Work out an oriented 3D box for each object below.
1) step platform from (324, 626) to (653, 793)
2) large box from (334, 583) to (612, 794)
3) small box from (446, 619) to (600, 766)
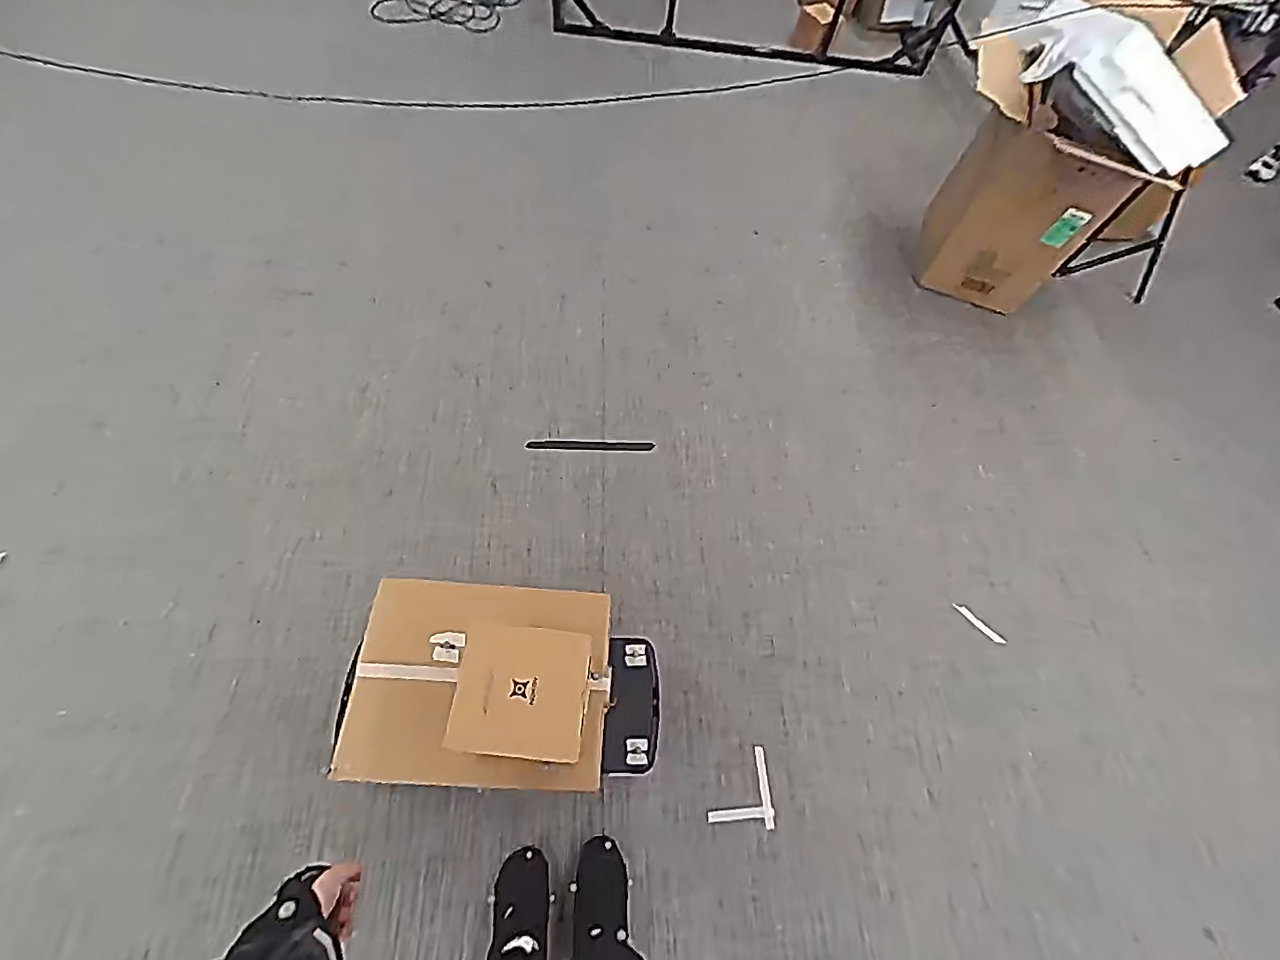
[{"bbox_3d":[-0.310,0.511,1.211,0.684,0.204,0.286,7,62,-3],"label":"step platform"},{"bbox_3d":[-0.263,0.393,1.008,0.408,0.320,0.320,5,62,-4],"label":"large box"},{"bbox_3d":[-0.158,0.311,0.786,0.179,0.176,0.168,8,63,-3],"label":"small box"}]
